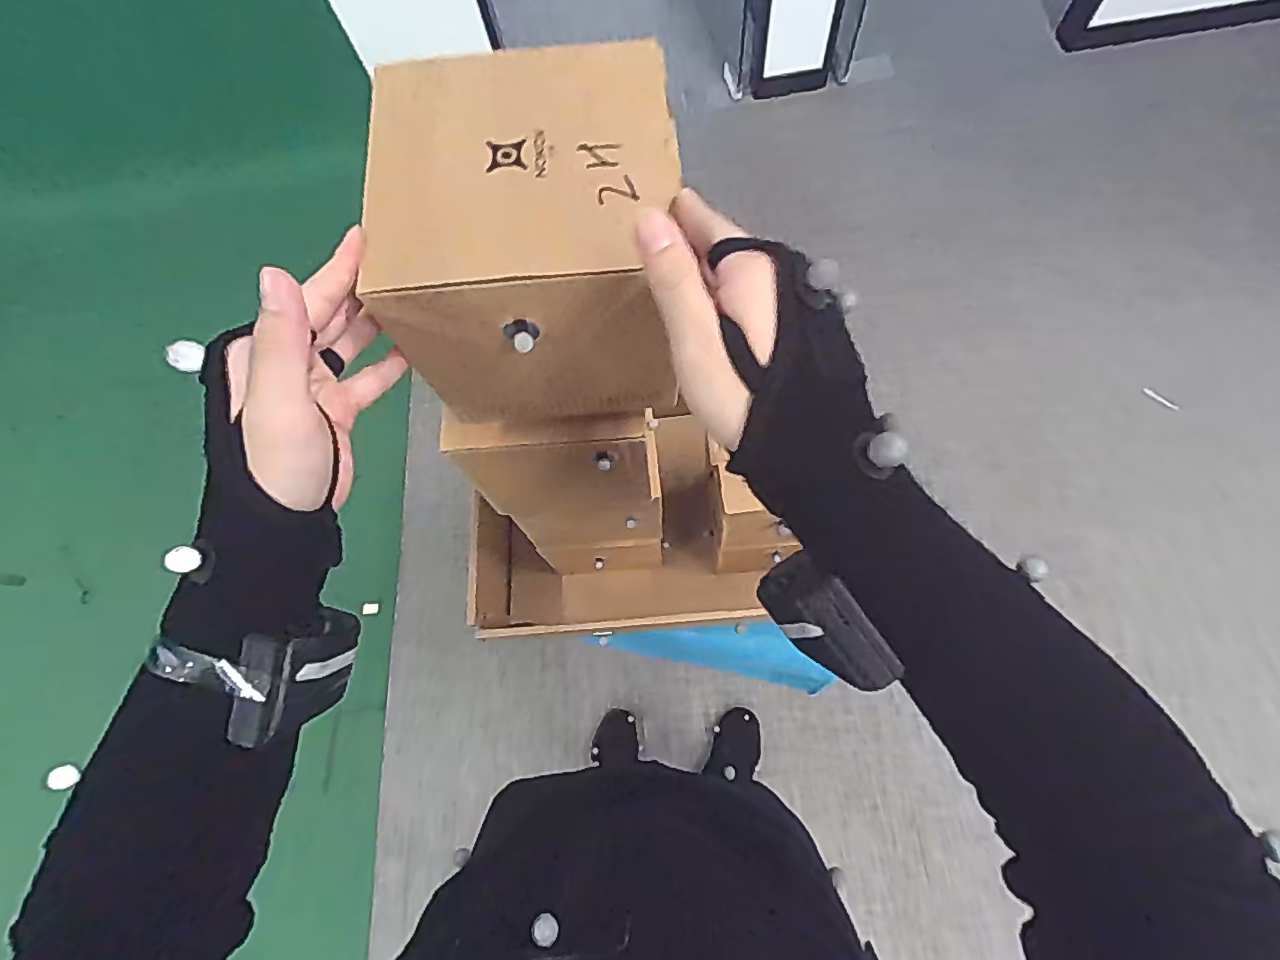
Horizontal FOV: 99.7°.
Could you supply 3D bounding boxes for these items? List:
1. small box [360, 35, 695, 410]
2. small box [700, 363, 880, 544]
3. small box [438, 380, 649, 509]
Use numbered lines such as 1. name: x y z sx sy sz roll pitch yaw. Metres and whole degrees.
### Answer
1. small box: -0.062 -0.157 0.375 0.179 0.176 0.168 -4 74 -1
2. small box: 0.176 -0.022 0.681 0.179 0.176 0.168 -8 69 6
3. small box: -0.084 -0.075 0.552 0.179 0.176 0.168 -4 69 0
